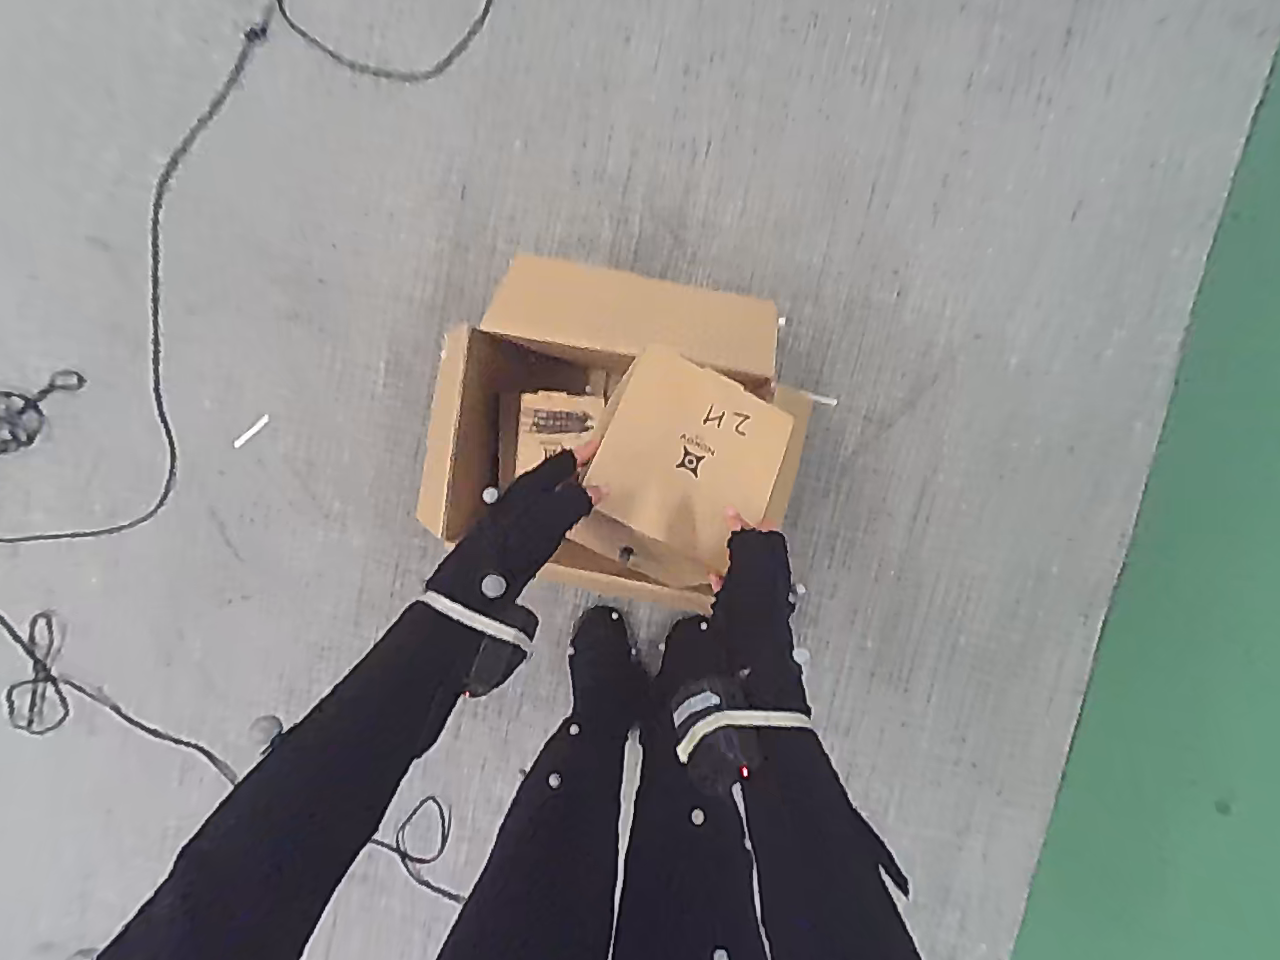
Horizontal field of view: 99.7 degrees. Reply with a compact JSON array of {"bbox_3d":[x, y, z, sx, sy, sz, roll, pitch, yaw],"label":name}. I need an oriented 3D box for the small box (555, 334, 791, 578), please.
[{"bbox_3d":[0.022,-0.009,0.560,0.168,0.176,0.179,27,70,-10],"label":"small box"}]
